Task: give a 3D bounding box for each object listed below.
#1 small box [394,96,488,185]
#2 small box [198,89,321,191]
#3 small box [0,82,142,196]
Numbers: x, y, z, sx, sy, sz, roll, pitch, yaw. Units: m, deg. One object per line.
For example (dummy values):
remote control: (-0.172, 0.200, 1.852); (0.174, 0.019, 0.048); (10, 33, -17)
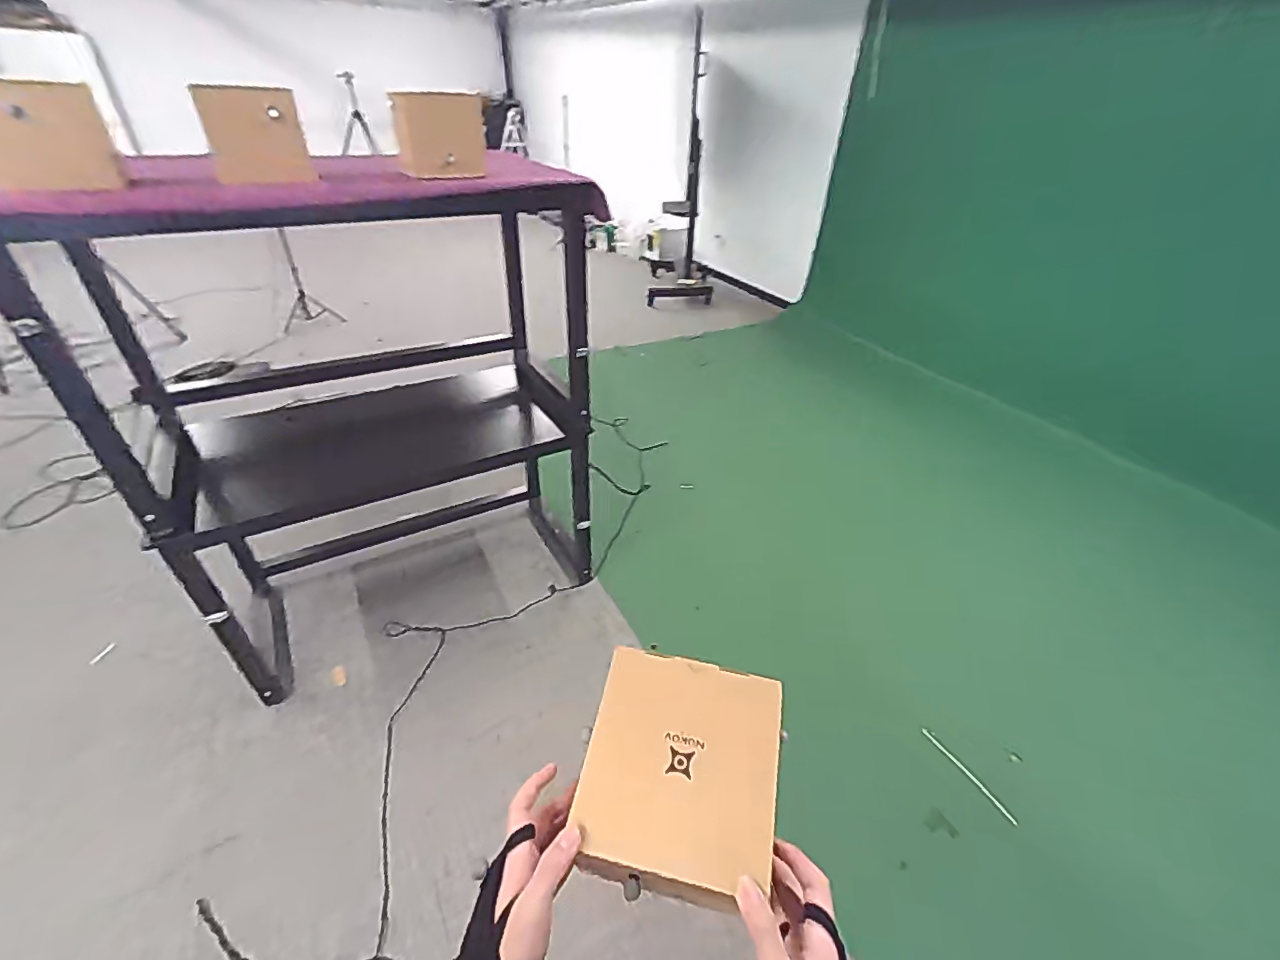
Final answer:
small box: (-0.476, -0.823, 1.312); (0.179, 0.176, 0.168); (-17, 38, -25)
small box: (-0.800, -0.726, 1.155); (0.179, 0.176, 0.168); (-17, 39, -25)
small box: (-1.079, -0.631, 1.003); (0.179, 0.176, 0.168); (-19, 41, -29)
